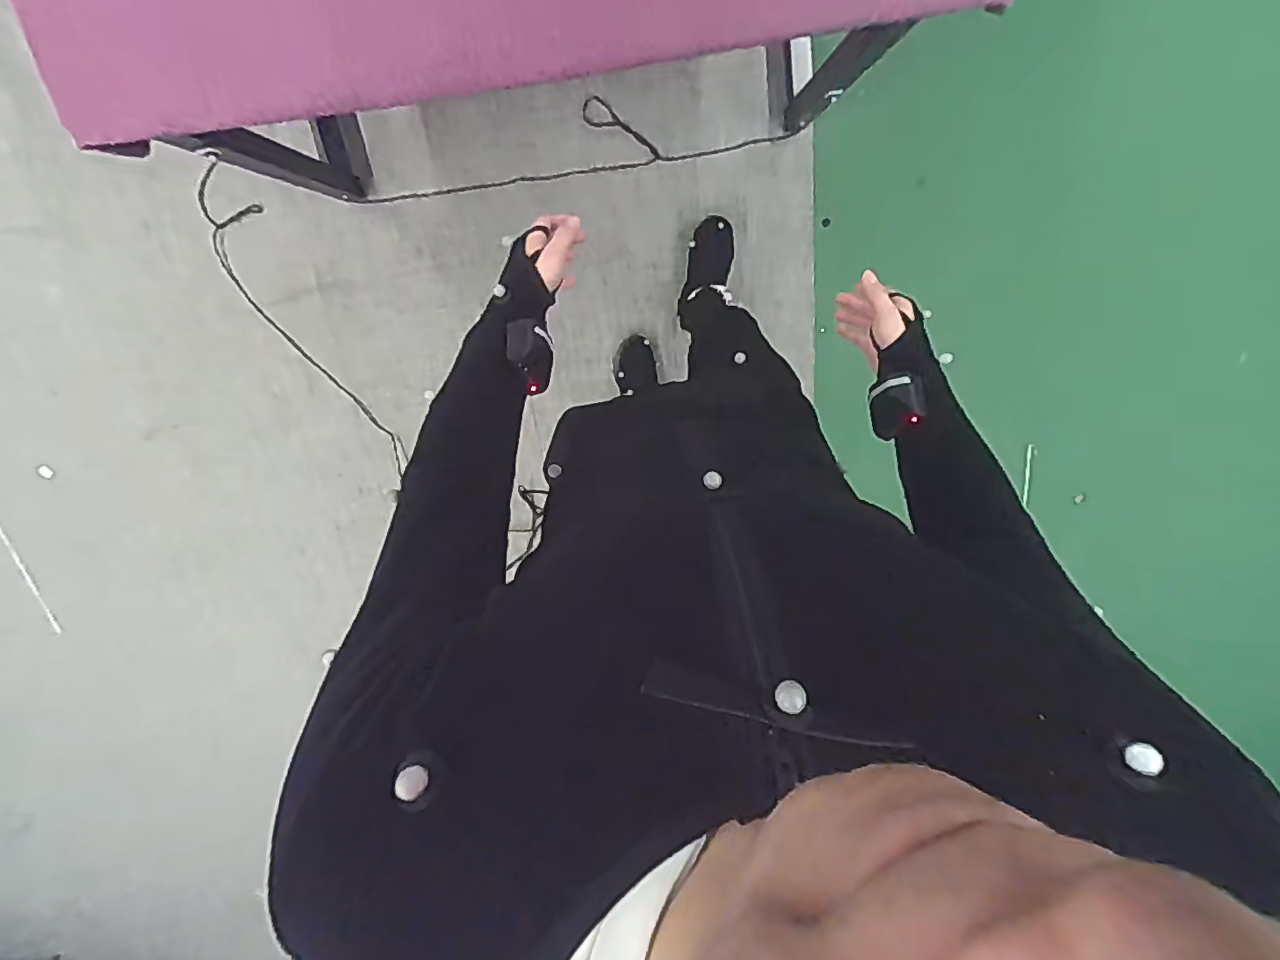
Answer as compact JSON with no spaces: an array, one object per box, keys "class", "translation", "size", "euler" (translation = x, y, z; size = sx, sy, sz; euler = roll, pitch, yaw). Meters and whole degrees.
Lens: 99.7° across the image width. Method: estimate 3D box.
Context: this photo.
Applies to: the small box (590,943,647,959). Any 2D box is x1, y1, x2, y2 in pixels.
[{"class":"small box","translation":[-0.058,1.538,1.628],"size":[0.168,0.176,0.179],"euler":[-13,109,2]}]
